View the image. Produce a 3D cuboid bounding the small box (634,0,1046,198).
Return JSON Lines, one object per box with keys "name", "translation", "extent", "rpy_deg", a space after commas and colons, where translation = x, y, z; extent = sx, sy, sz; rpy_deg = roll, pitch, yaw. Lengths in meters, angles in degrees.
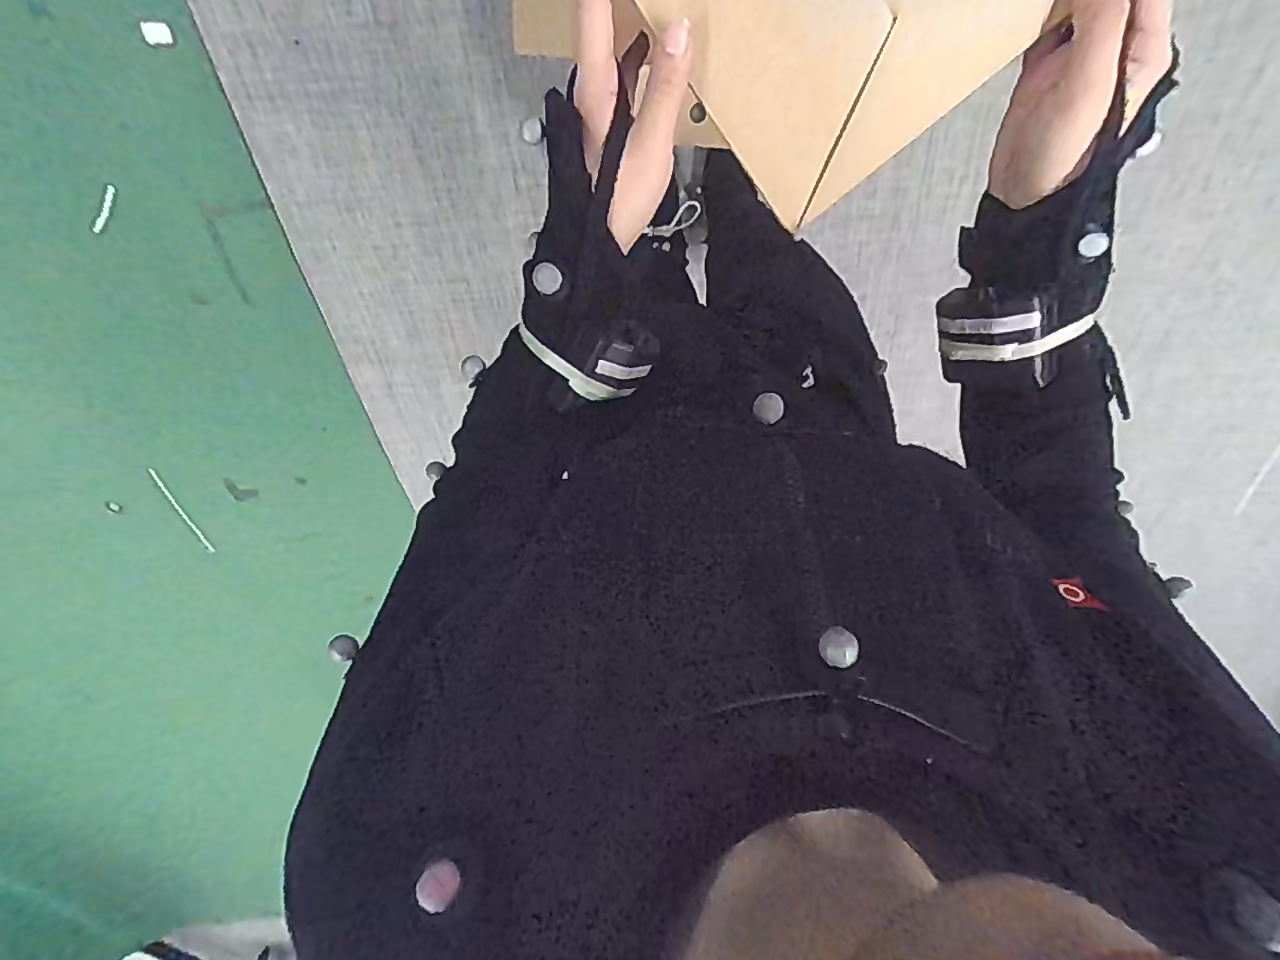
{"name": "small box", "translation": [0.099, -0.294, 0.297], "extent": [0.179, 0.176, 0.168], "rpy_deg": [-33, 122, 27]}
